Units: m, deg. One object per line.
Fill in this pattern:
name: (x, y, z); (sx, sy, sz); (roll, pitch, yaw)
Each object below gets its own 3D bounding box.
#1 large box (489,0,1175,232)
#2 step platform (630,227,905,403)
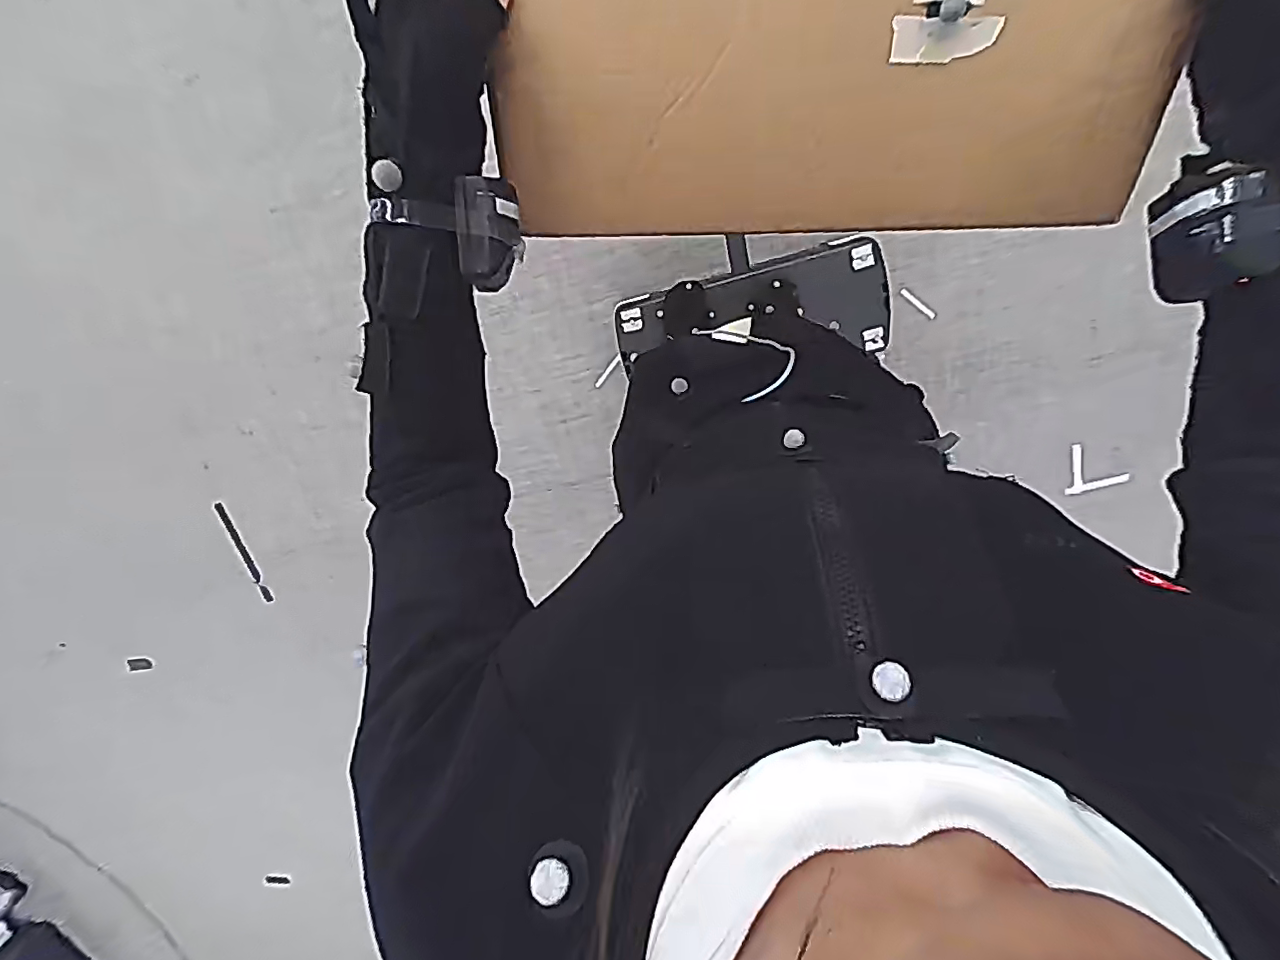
large box: (0.113, -0.391, 0.424); (0.408, 0.320, 0.320); (1, 123, 4)
step platform: (0.320, -0.422, 1.420); (0.684, 0.204, 0.286); (-14, 110, 9)
